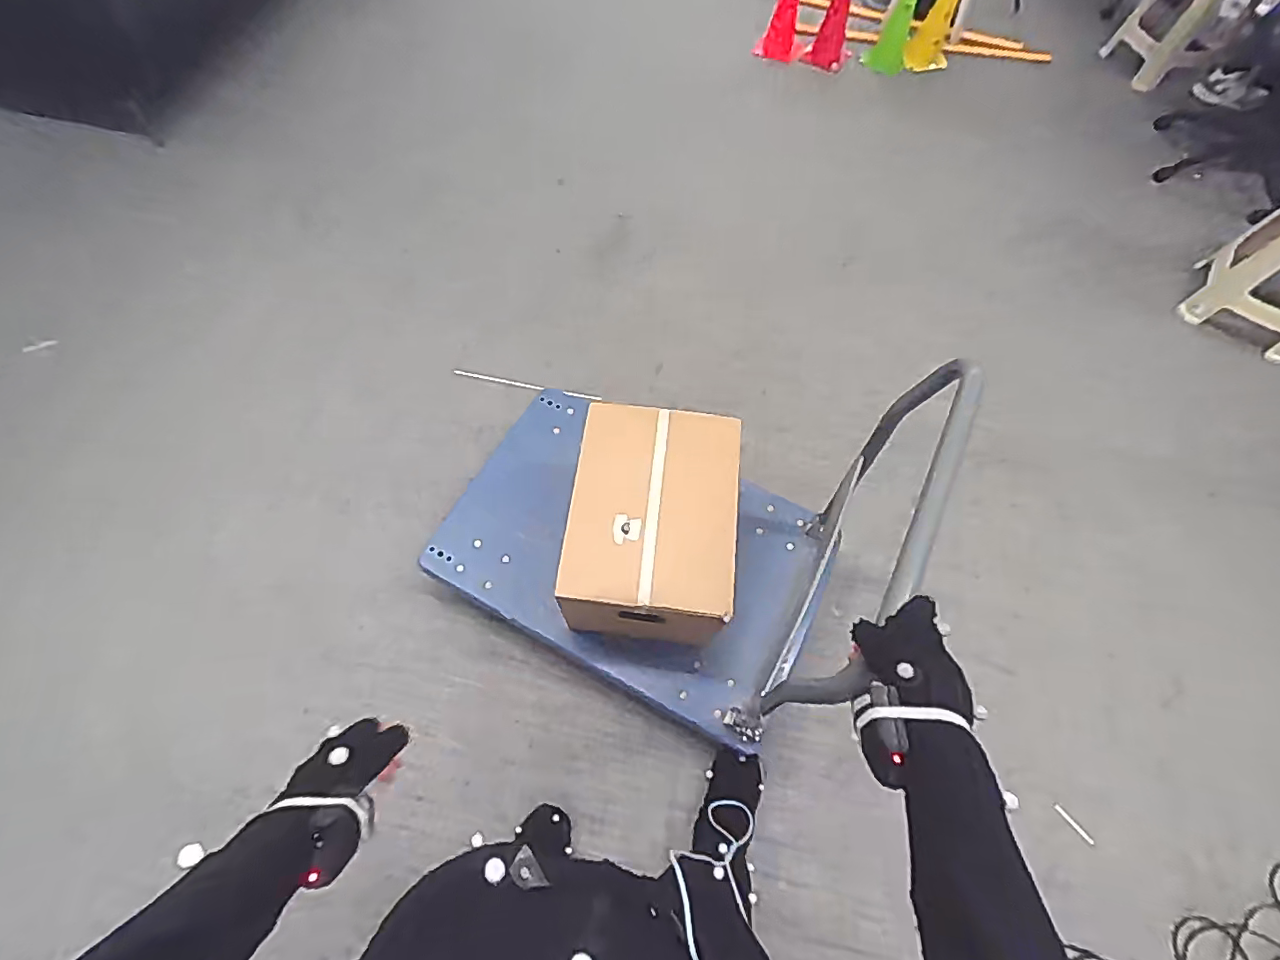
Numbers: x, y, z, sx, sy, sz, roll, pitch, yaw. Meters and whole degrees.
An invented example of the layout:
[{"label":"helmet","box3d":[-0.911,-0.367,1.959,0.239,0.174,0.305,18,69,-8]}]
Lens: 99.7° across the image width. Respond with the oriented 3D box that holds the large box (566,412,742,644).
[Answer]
[{"label":"large box","box3d":[0.032,0.113,1.160,0.320,0.320,0.408,6,65,1]}]
